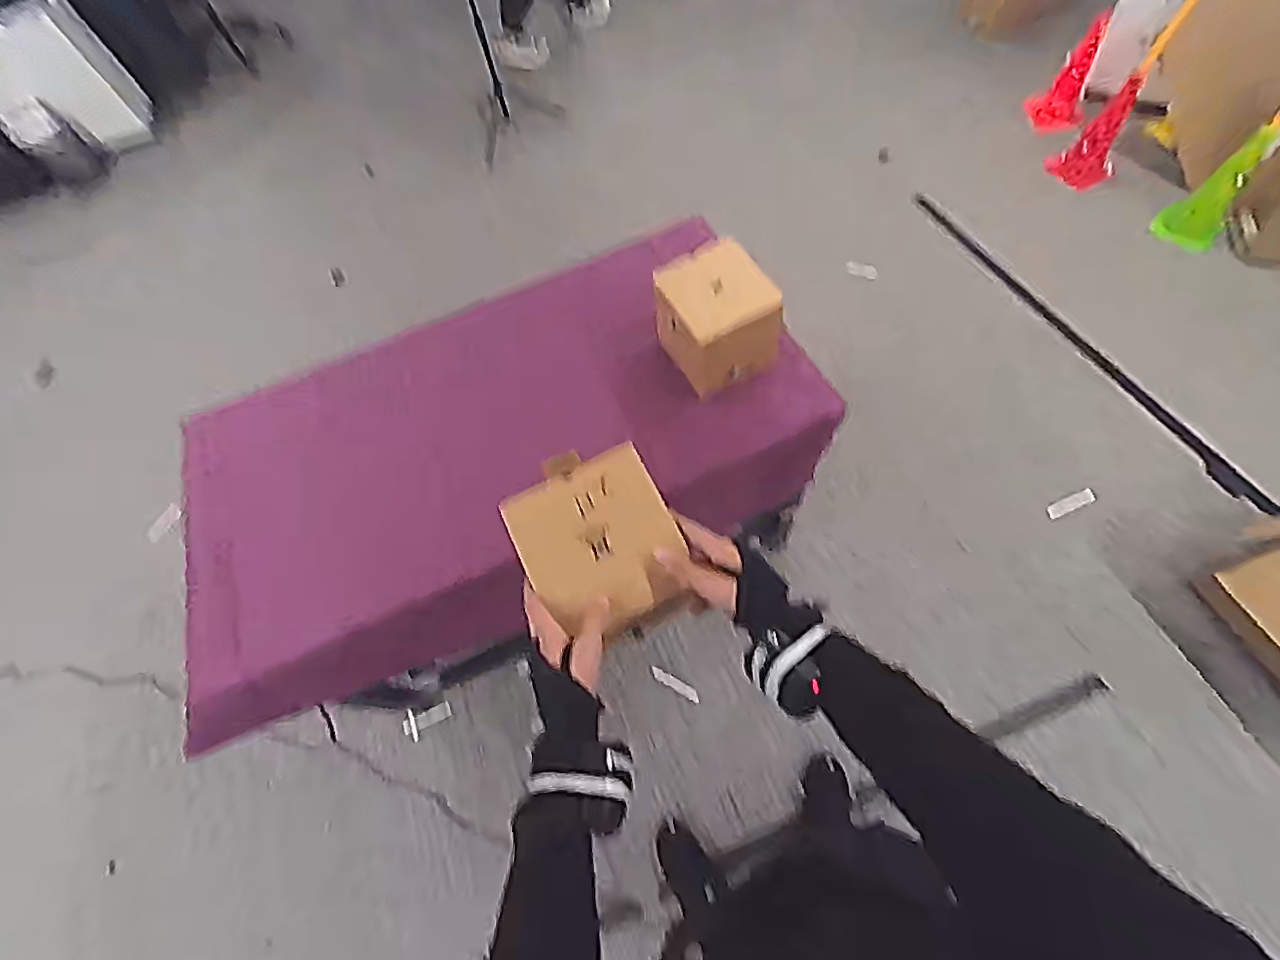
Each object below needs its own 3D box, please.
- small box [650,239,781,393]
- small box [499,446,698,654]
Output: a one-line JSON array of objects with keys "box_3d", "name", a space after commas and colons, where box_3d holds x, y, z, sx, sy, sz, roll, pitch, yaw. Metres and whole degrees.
[{"box_3d": [0.133, -0.294, 0.989, 0.168, 0.176, 0.179, -27, 63, -6], "name": "small box"}, {"box_3d": [-0.041, 0.095, 0.650, 0.168, 0.176, 0.179, -26, 68, -7], "name": "small box"}]
